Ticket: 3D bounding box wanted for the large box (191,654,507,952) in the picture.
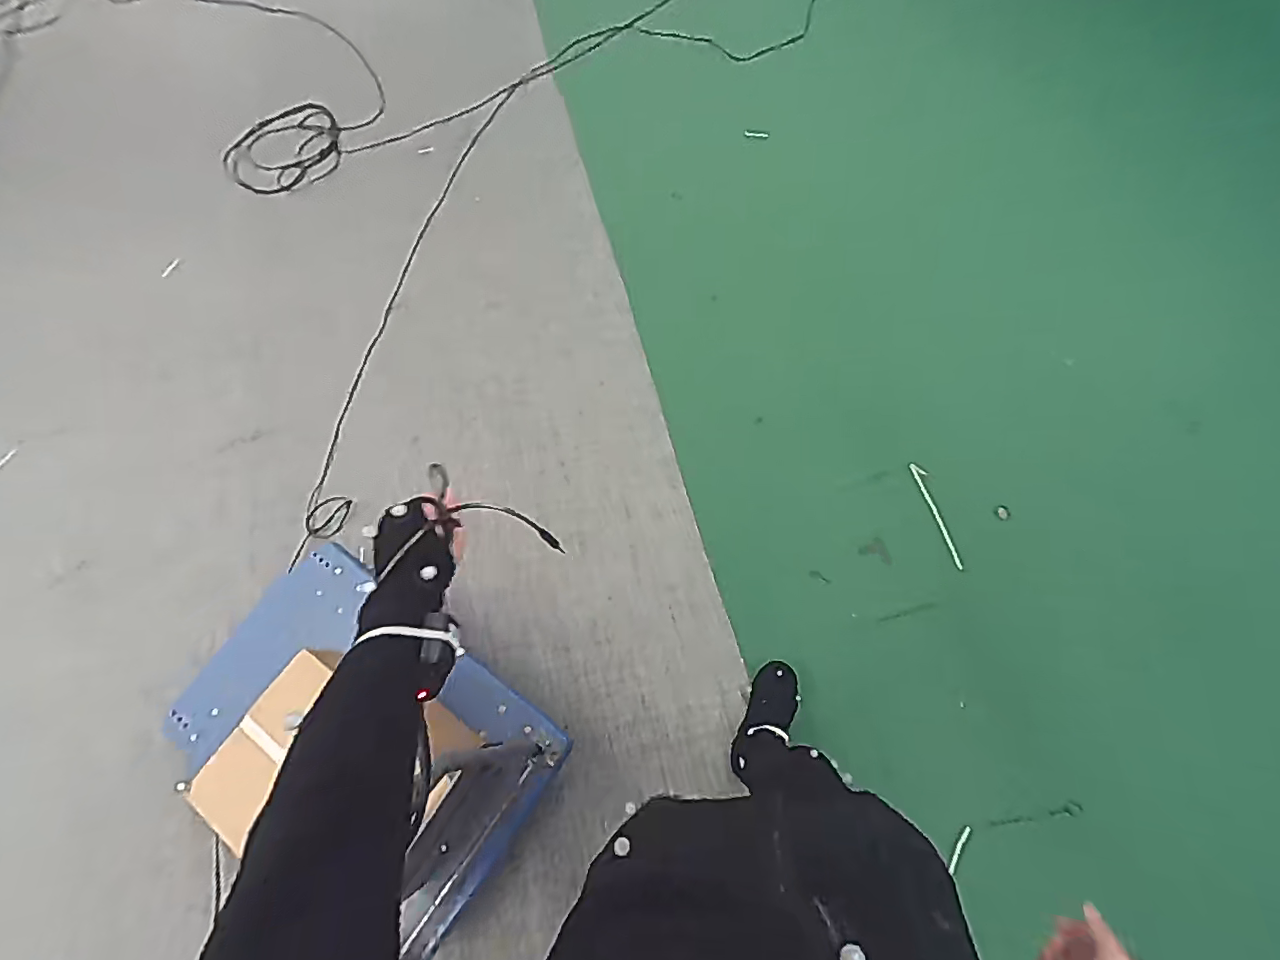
[{"bbox_3d":[-0.556,0.606,1.102,0.408,0.320,0.320,31,75,17],"label":"large box"}]
